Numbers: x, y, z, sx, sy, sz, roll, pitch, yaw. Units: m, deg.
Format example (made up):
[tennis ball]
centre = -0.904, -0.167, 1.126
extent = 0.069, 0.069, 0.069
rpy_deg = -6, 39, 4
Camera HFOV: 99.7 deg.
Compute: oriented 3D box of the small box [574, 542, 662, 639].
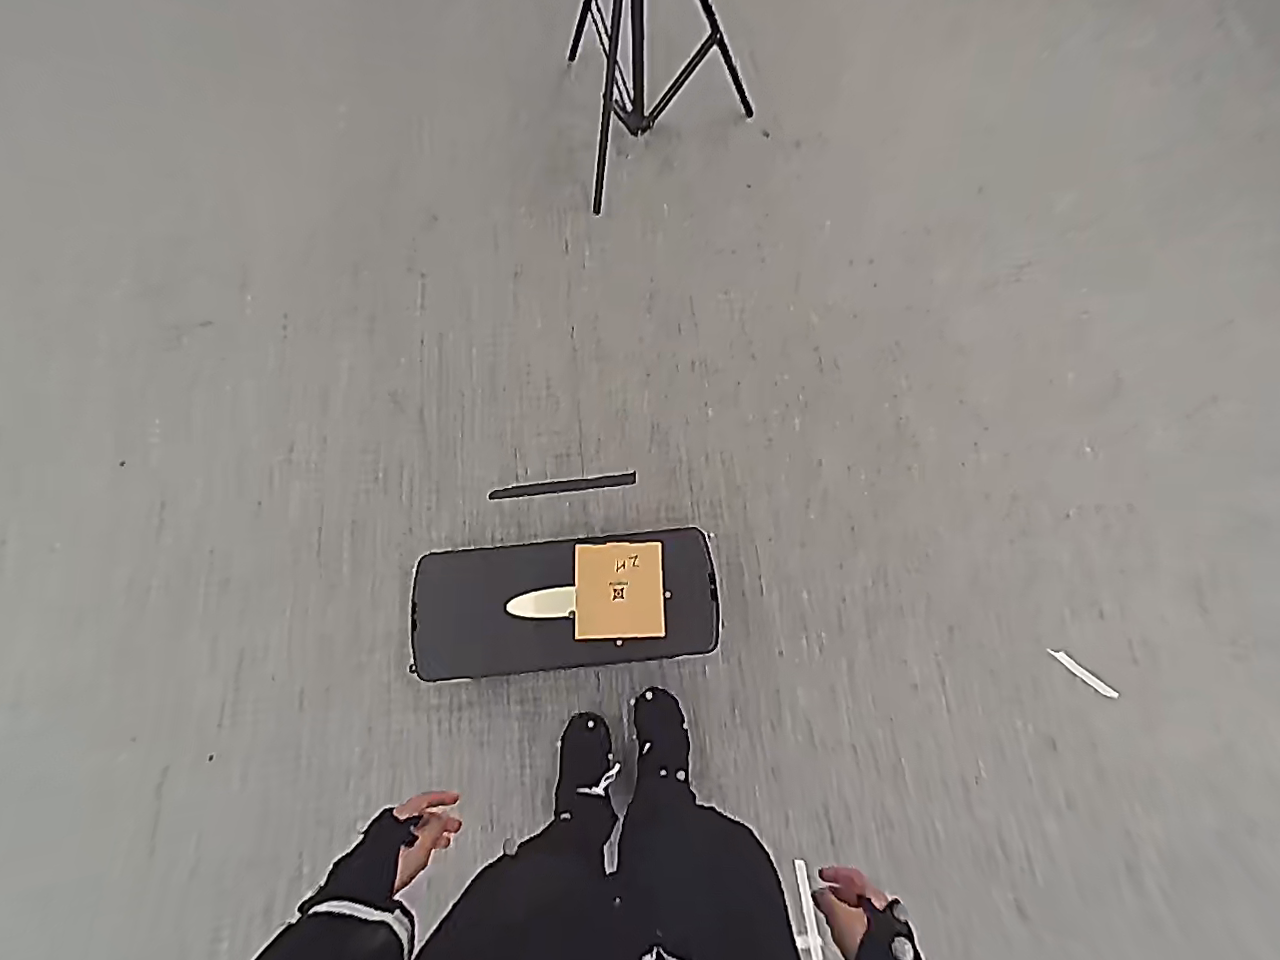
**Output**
[small box]
centre = -0.039, 0.225, 1.083
extent = 0.168, 0.176, 0.179
rpy_deg = -2, 74, 0
